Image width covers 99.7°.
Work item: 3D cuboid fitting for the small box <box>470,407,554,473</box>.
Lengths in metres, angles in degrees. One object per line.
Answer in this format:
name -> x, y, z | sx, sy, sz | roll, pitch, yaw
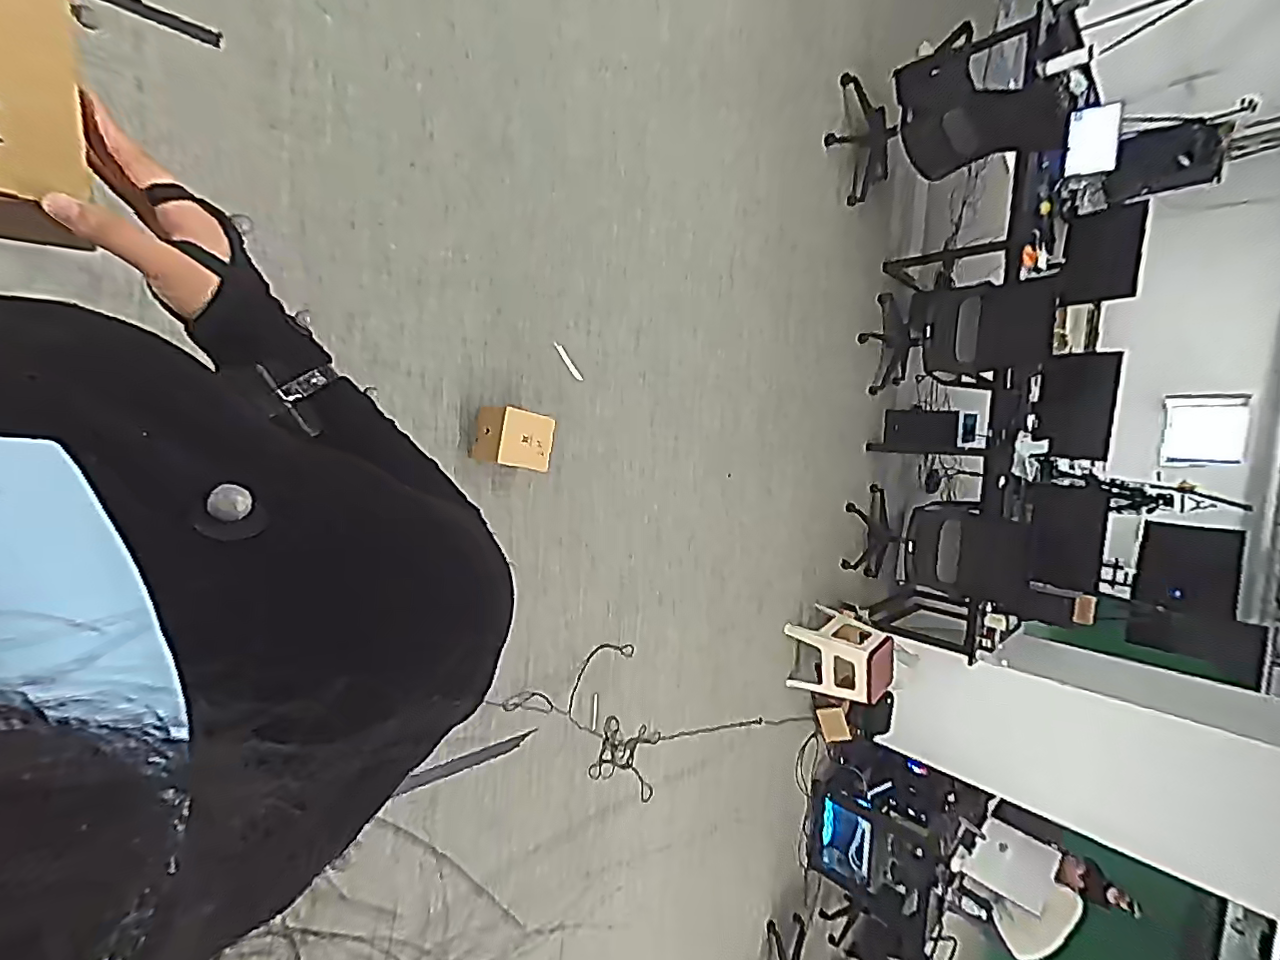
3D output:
small box -> -0.393, -0.121, 1.640 | 0.179, 0.176, 0.168 | 12, 87, -45
